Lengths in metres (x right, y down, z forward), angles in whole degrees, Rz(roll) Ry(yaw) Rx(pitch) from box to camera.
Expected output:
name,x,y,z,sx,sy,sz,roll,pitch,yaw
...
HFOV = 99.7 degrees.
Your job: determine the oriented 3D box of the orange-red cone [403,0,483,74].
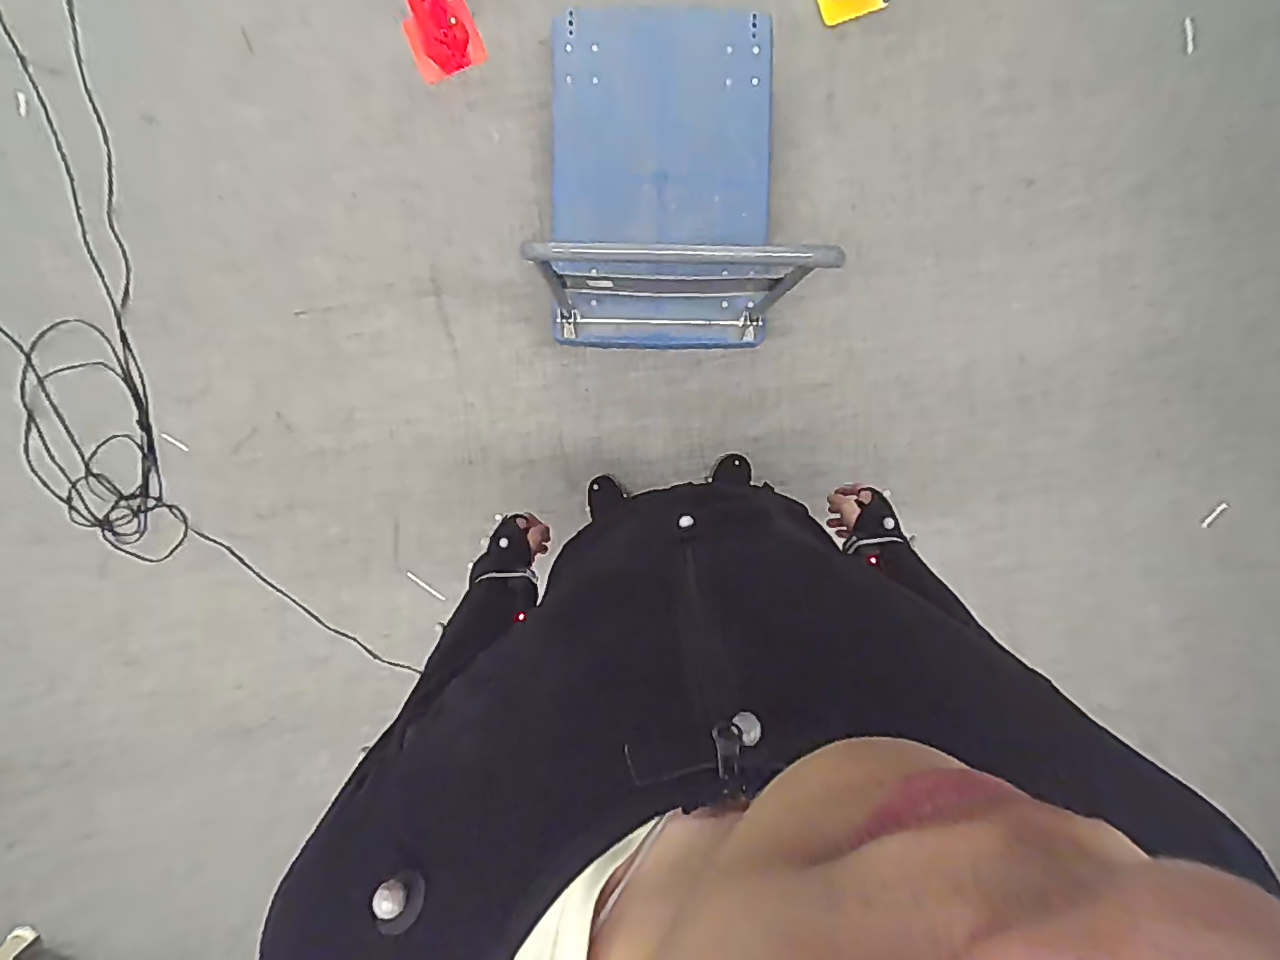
name,x,y,z,sx,sy,sz,roll,pitch,yaw
orange-red cone,-0.578,-1.295,1.405,0.199,0.360,0.198,-22,92,3
